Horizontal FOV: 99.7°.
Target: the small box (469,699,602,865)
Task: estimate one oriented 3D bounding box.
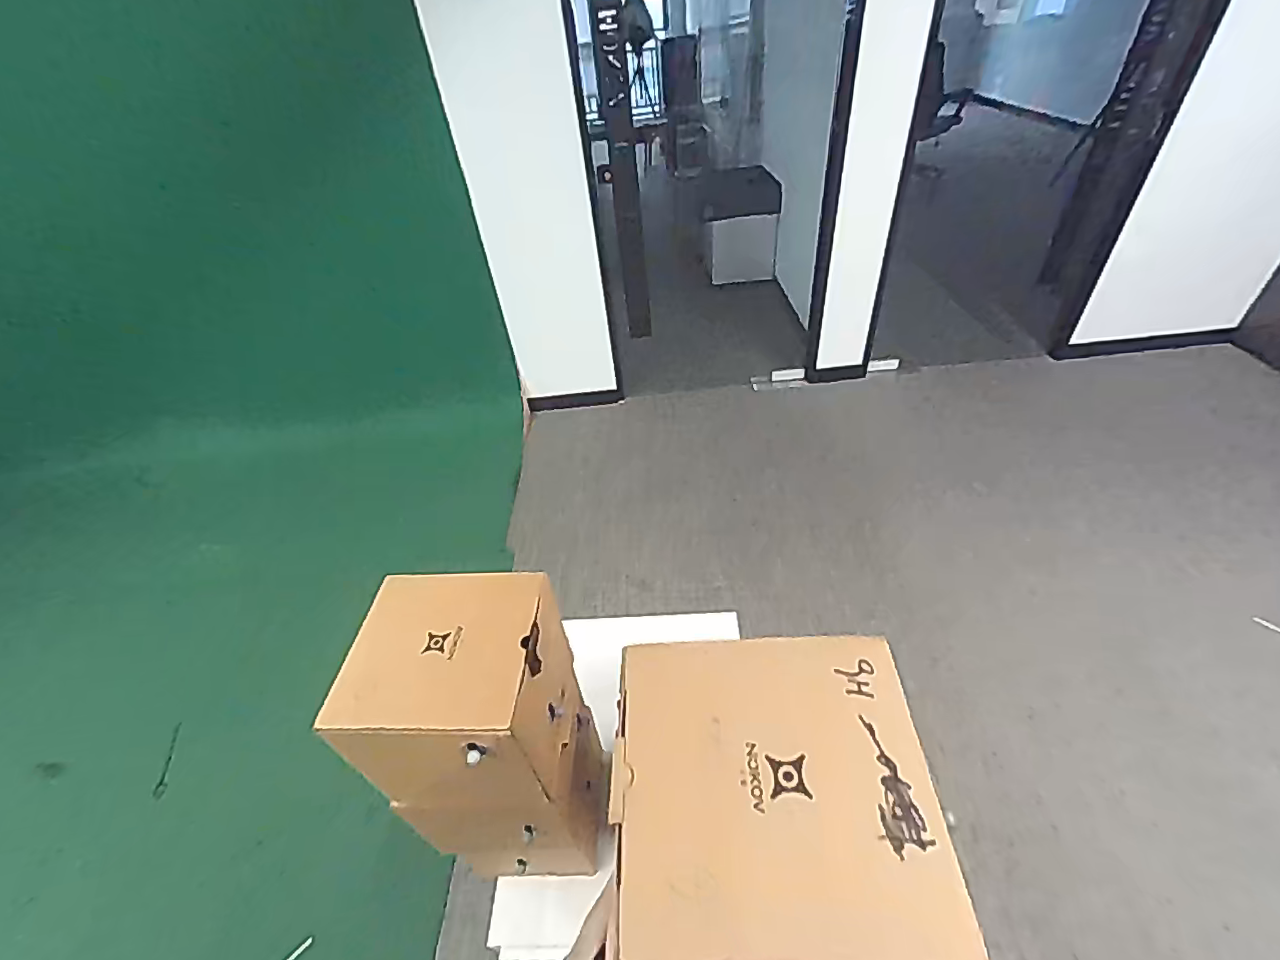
[{"bbox_3d":[-0.148,0.441,0.787,0.168,0.176,0.179,-2,42,3],"label":"small box"}]

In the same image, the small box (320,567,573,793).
[{"bbox_3d":[-0.177,0.208,0.562,0.179,0.176,0.168,-2,42,4],"label":"small box"}]

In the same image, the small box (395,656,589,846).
[{"bbox_3d":[-0.162,0.332,0.667,0.179,0.176,0.168,-4,41,3],"label":"small box"}]

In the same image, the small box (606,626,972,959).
[{"bbox_3d":[0.080,0.215,0.368,0.179,0.176,0.168,-2,48,5],"label":"small box"}]
